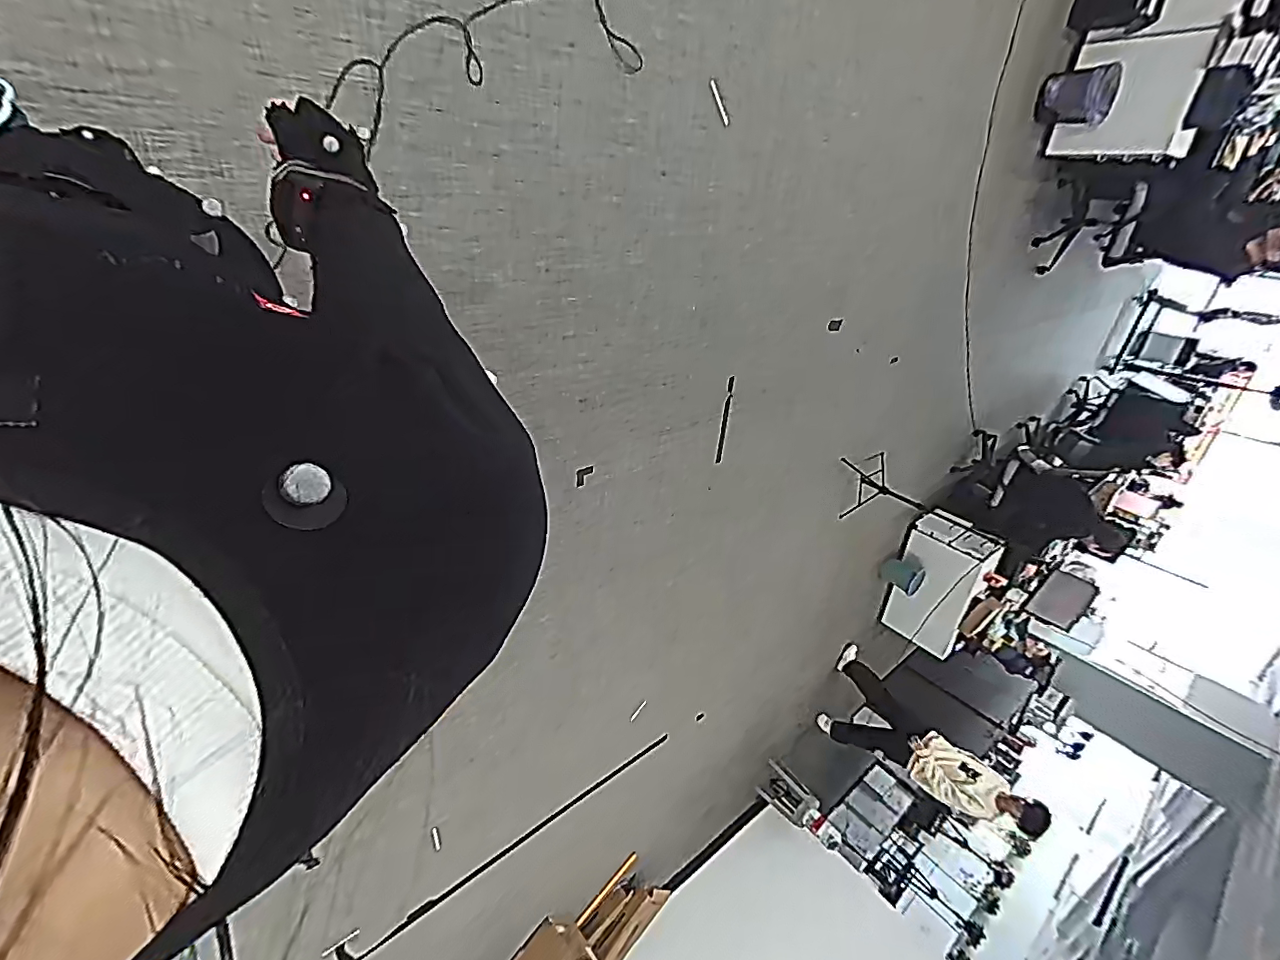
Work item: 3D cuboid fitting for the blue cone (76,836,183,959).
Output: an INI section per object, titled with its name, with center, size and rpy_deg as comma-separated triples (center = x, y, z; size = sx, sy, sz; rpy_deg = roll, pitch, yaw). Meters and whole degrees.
[blue cone]
center = -1.288, 1.138, 1.370
size = 0.192, 0.380, 0.193
rpy_deg = -13, 122, -36
